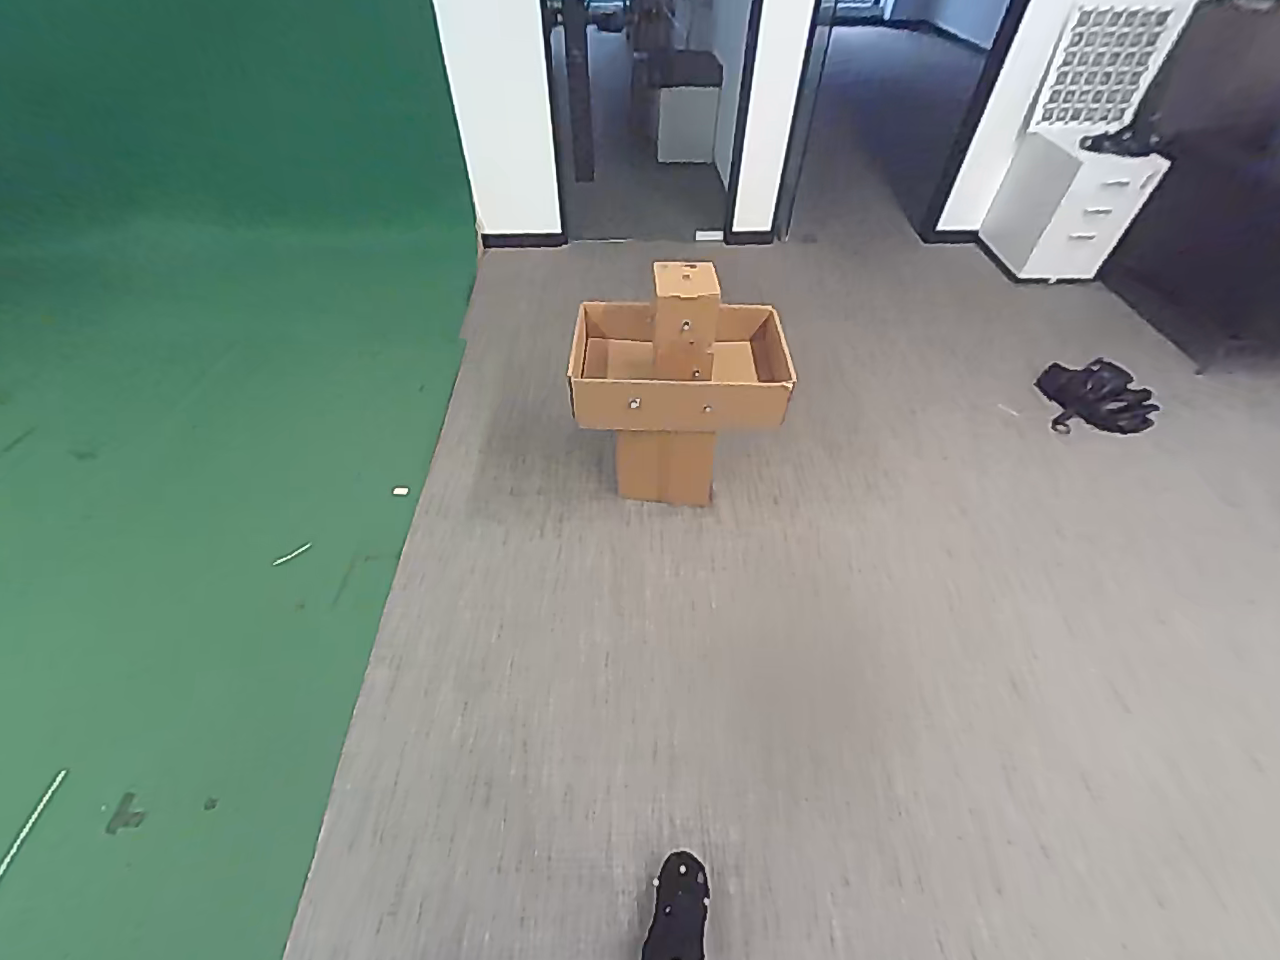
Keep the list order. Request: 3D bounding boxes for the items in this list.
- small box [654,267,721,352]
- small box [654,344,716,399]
[{"bbox_3d":[0.125,-0.468,1.491,0.168,0.176,0.179,0,49,-3],"label":"small box"},{"bbox_3d":[0.129,-0.356,1.611,0.168,0.176,0.179,0,46,-3],"label":"small box"}]
